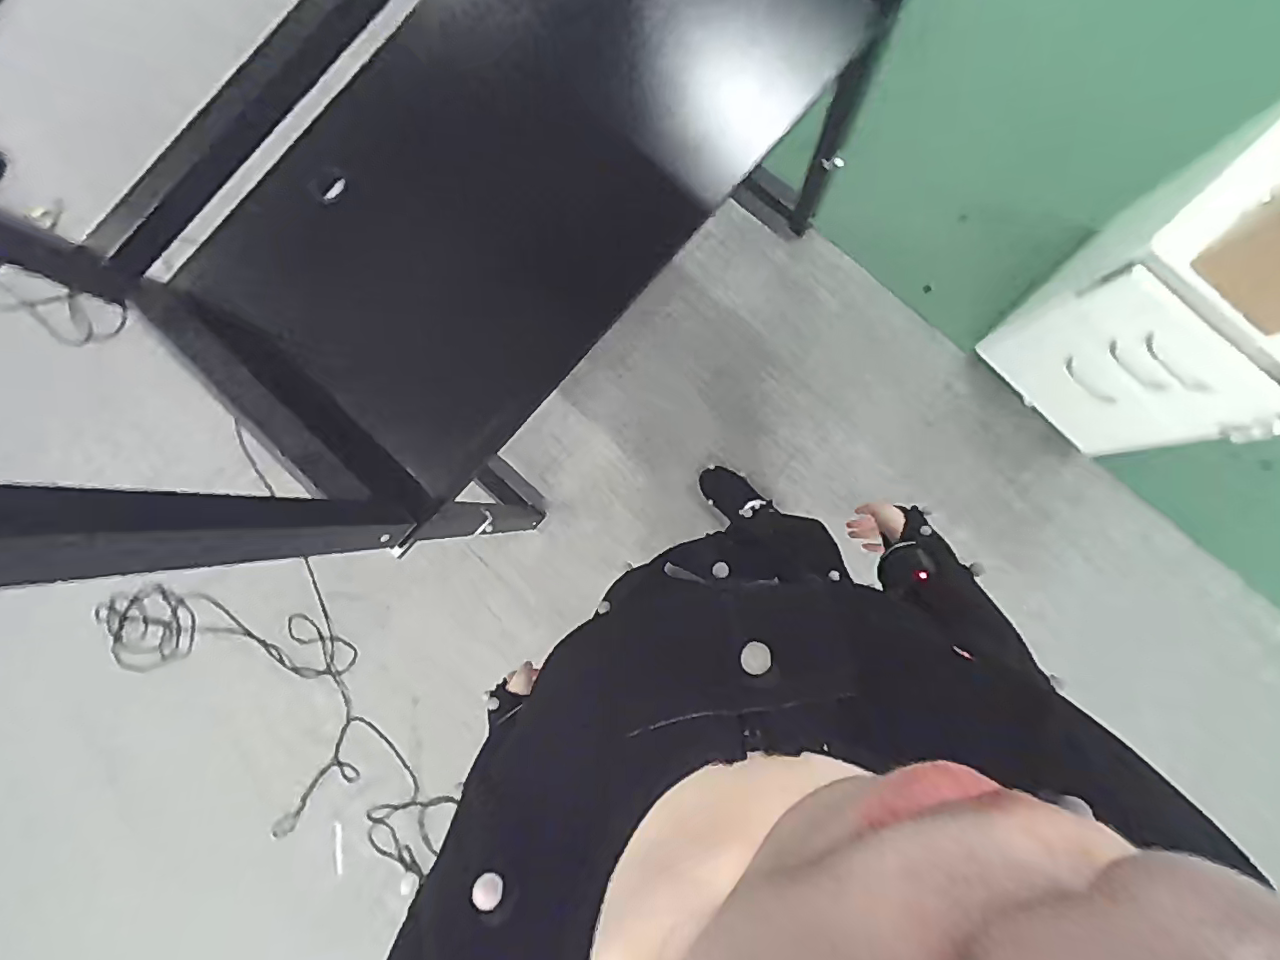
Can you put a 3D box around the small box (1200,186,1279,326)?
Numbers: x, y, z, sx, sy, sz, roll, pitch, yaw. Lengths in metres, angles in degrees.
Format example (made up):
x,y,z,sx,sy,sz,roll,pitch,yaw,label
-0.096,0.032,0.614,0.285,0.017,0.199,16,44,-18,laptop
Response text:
x,y,z,sx,sy,sz,roll,pitch,yaw,label
0.983,-0.350,0.766,0.168,0.176,0.179,-41,84,1,small box
